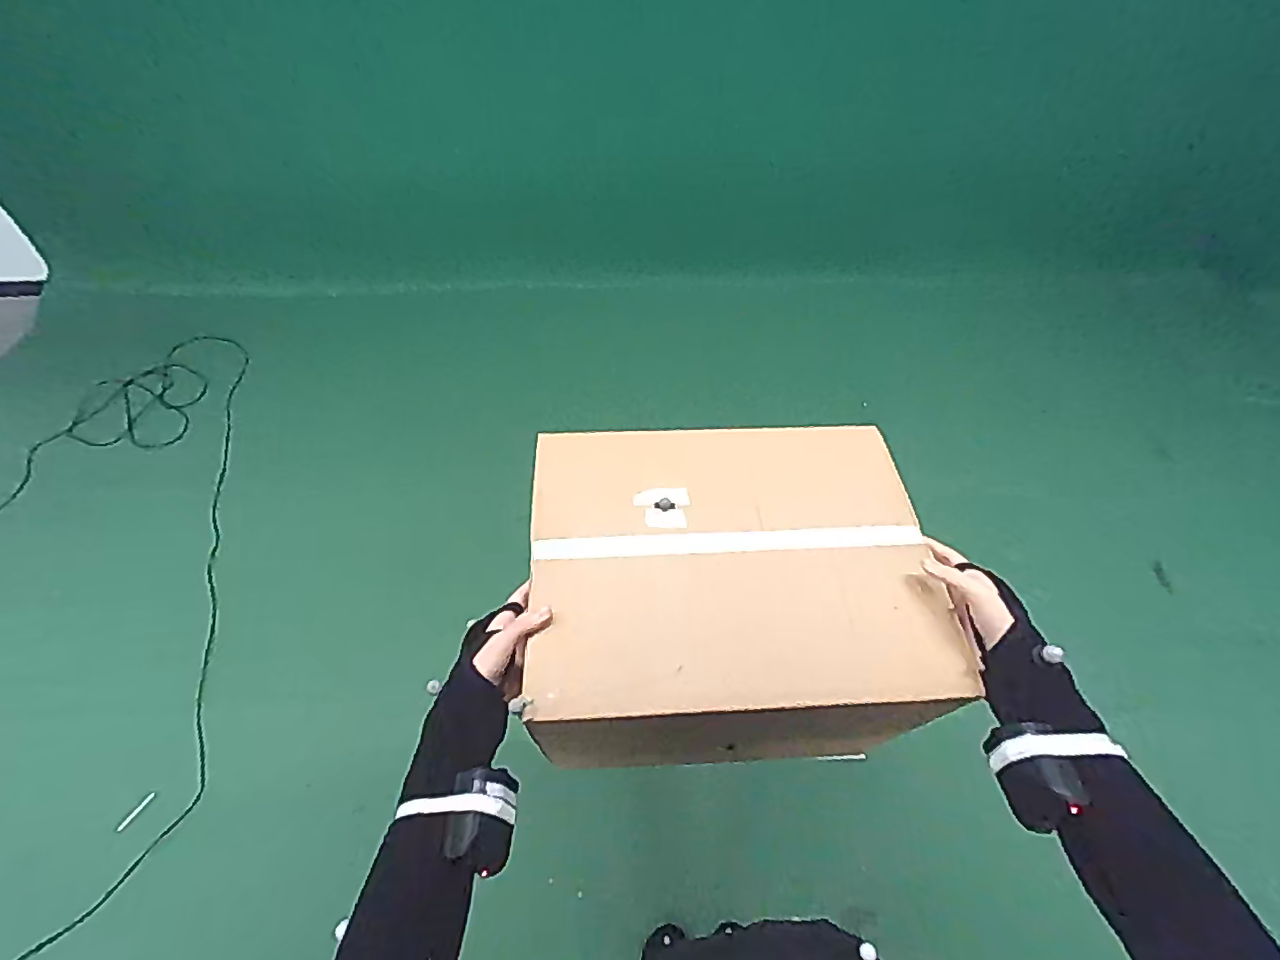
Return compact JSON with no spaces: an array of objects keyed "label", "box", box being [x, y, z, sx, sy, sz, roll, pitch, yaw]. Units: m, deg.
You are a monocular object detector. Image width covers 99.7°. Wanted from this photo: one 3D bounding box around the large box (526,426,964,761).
[{"label":"large box","box":[0.087,0.155,0.683,0.408,0.320,0.320,-3,55,-3]}]
